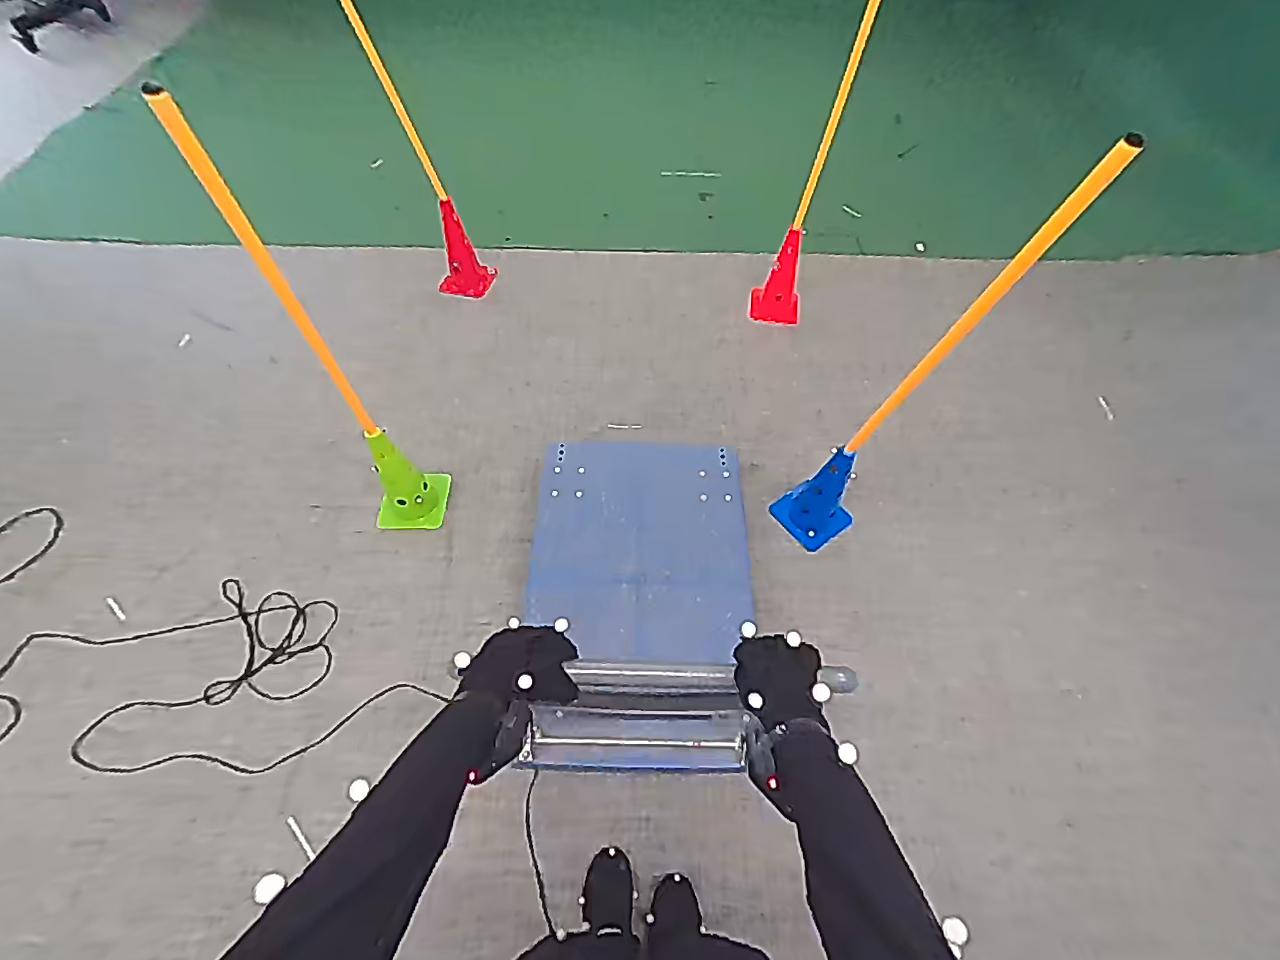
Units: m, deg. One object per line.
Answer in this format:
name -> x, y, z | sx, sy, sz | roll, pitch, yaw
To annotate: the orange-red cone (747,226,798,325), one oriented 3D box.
orange-red cone -> 0.551, -0.807, 2.093 | 0.198, 0.360, 0.199 | 10, 58, 6
